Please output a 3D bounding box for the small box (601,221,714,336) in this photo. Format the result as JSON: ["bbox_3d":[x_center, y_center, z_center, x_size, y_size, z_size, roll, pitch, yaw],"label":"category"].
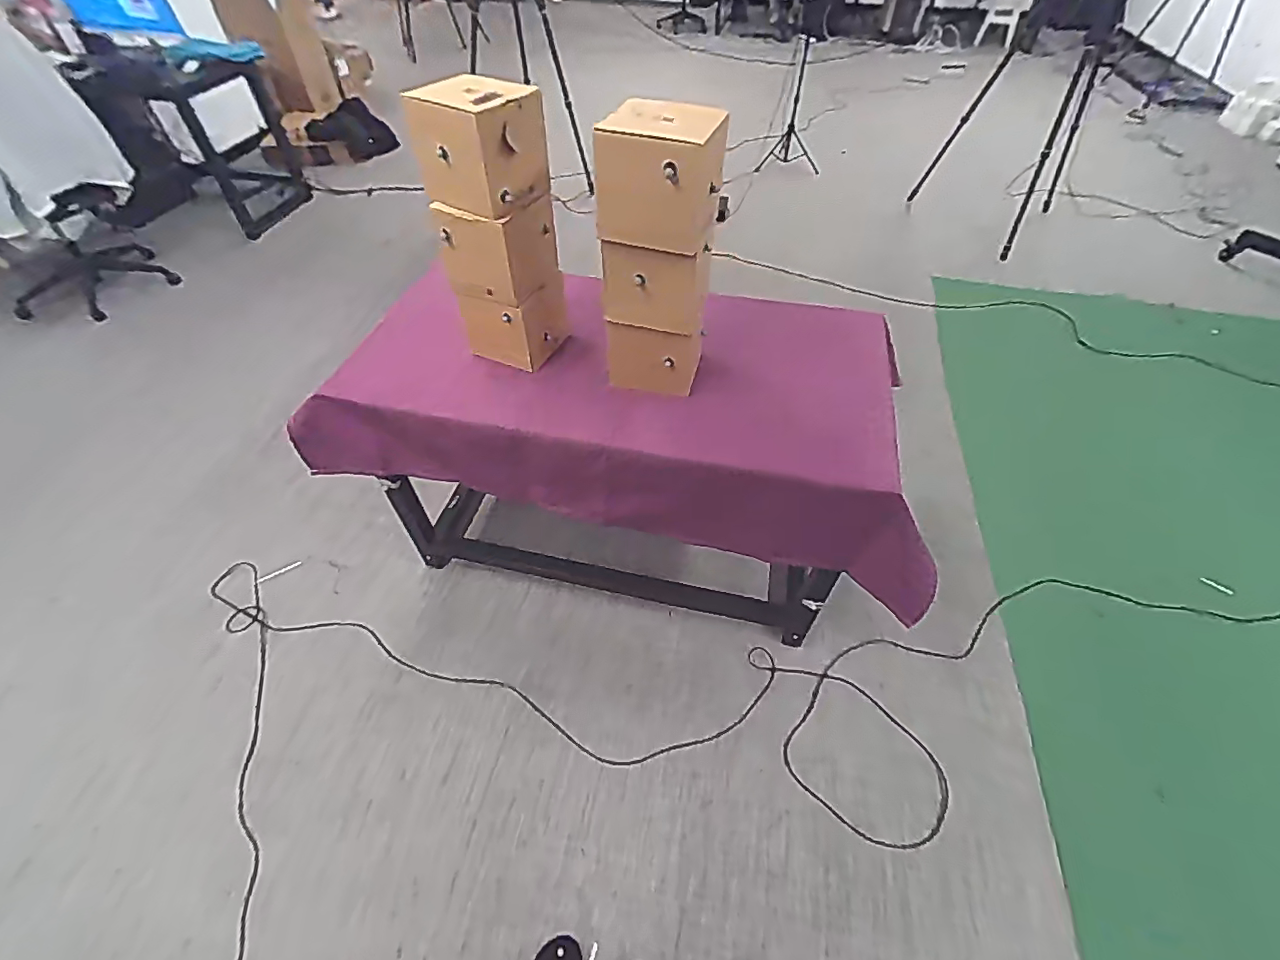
[{"bbox_3d":[0.035,-0.401,1.052,0.179,0.176,0.168,13,50,11],"label":"small box"}]

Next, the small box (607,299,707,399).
[{"bbox_3d":[0.038,-0.298,1.180,0.179,0.176,0.168,12,49,10],"label":"small box"}]

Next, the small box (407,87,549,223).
[{"bbox_3d":[-0.288,-0.599,1.003,0.179,0.176,0.168,25,52,20],"label":"small box"}]

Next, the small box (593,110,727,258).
[{"bbox_3d":[0.034,-0.499,0.918,0.179,0.176,0.168,16,49,12],"label":"small box"}]

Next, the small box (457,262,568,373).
[{"bbox_3d":[-0.283,-0.369,1.238,0.179,0.176,0.168,19,51,15],"label":"small box"}]
